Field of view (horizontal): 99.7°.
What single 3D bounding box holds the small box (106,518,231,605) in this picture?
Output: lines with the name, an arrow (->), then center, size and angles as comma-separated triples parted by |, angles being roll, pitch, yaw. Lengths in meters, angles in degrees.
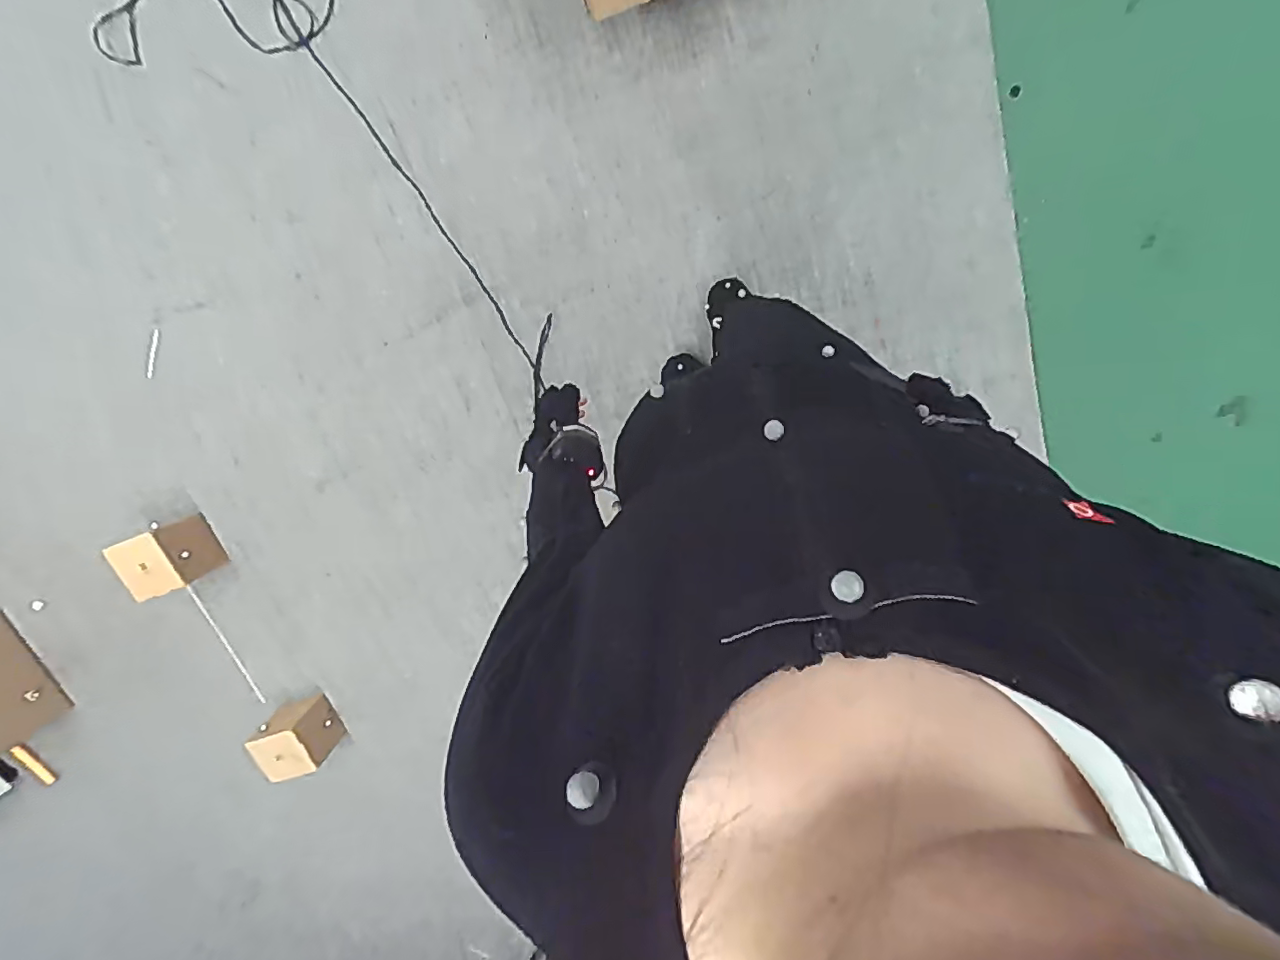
small box -> -1.351, 0.225, 1.562 | 0.168, 0.176, 0.179 | -19, 106, 8

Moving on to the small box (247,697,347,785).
small box -> -1.094, 0.835, 1.740 | 0.179, 0.176, 0.168 | -19, 106, 8
